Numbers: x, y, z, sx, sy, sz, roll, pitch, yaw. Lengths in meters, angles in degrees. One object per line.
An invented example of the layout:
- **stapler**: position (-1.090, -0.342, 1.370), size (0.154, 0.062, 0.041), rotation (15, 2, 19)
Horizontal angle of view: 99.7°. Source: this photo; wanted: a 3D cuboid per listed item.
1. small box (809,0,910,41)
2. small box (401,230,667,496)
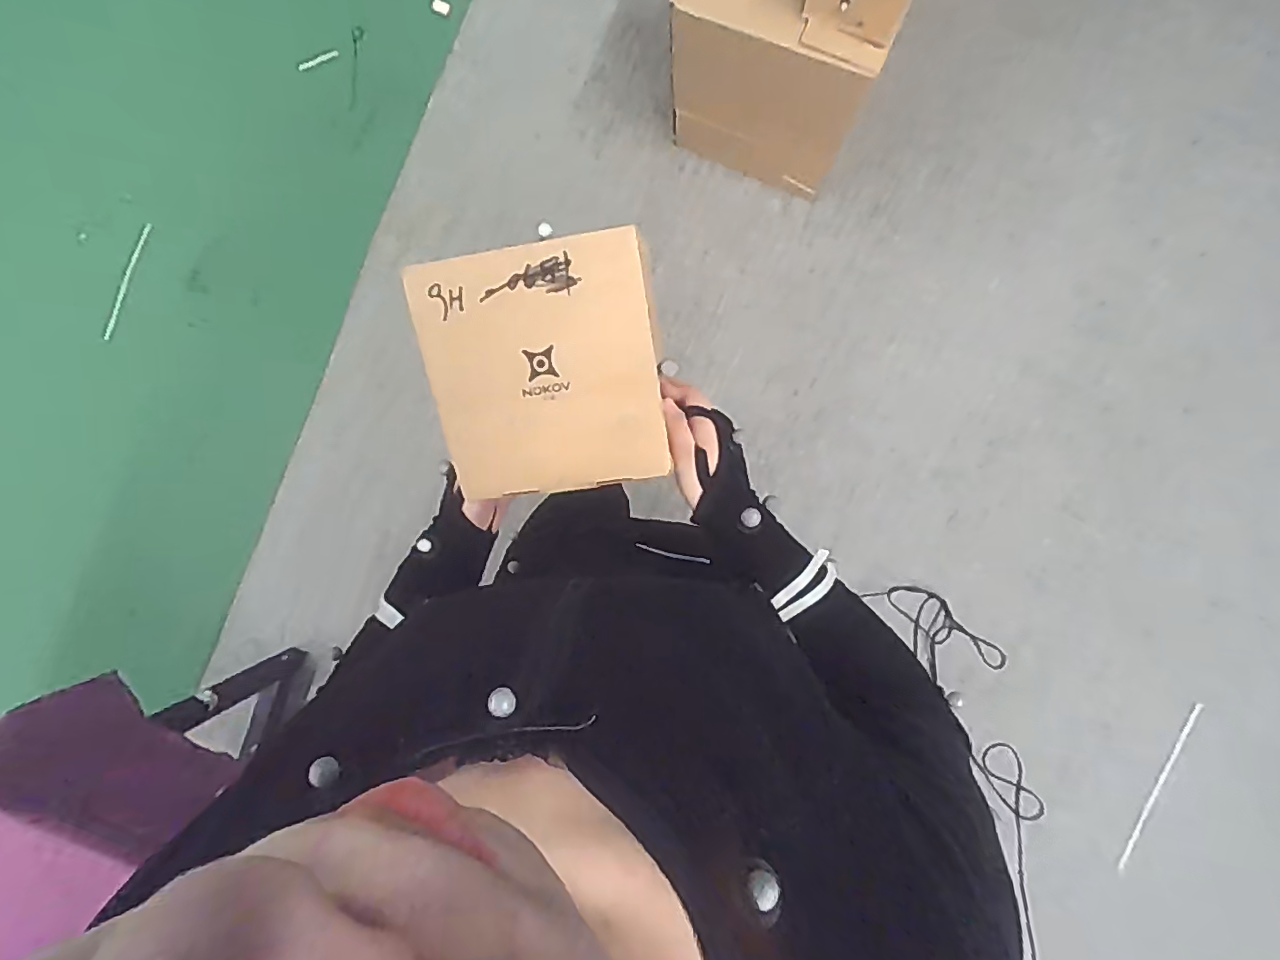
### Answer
- **small box**: position (0.395, -0.885, 0.882), size (0.168, 0.176, 0.179), rotation (23, 94, 4)
- **small box**: position (-0.068, -0.102, 0.464), size (0.168, 0.176, 0.179), rotation (-6, 108, 6)
